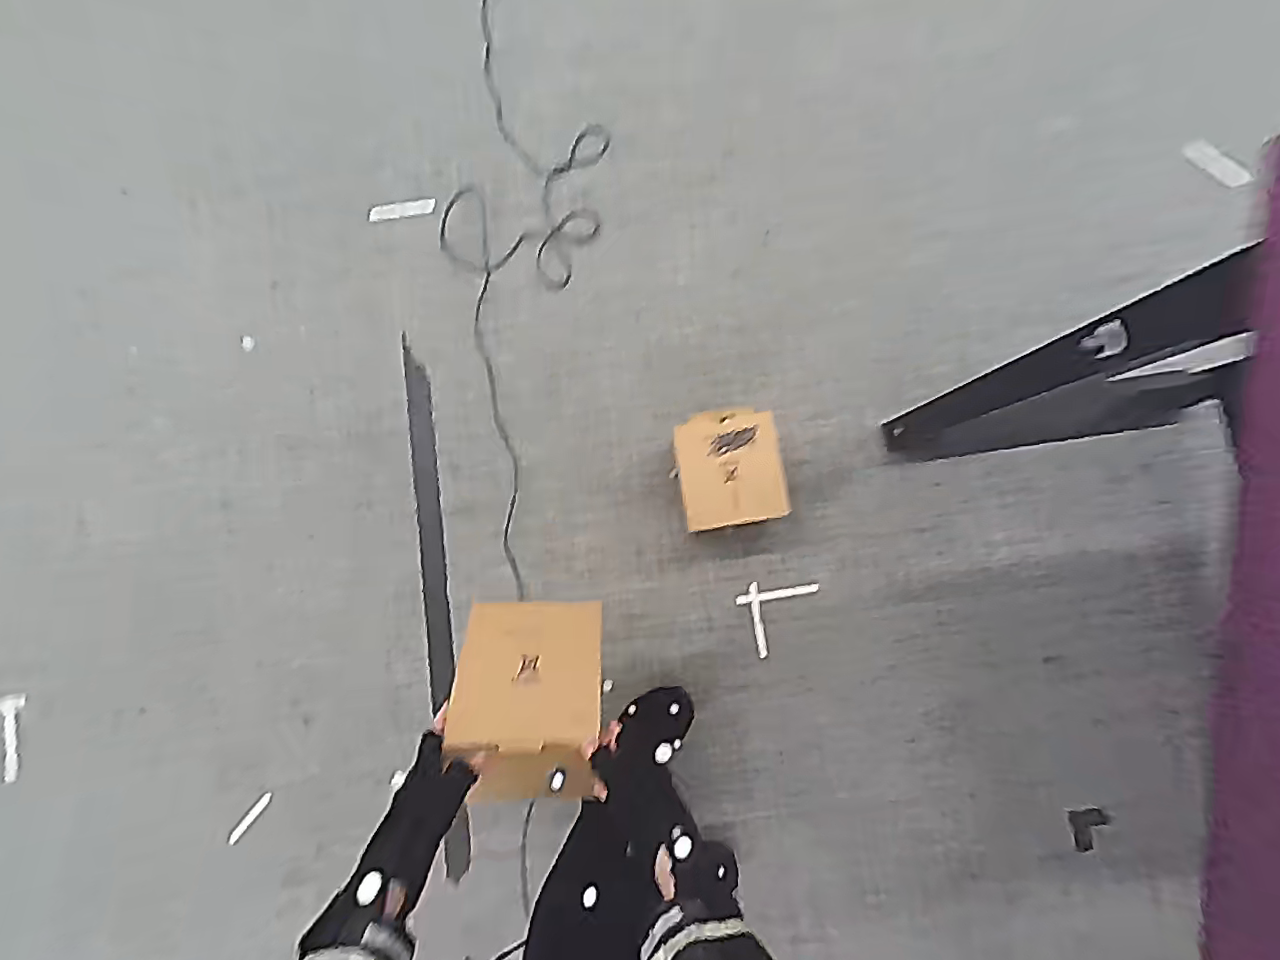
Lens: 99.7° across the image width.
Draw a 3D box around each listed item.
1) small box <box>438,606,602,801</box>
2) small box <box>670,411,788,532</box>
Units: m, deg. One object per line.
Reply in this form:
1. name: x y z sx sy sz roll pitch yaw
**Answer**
1. small box: -0.131 0.275 0.660 0.168 0.176 0.179 2 42 -6
2. small box: 0.146 -0.007 0.953 0.168 0.176 0.179 -10 84 1
